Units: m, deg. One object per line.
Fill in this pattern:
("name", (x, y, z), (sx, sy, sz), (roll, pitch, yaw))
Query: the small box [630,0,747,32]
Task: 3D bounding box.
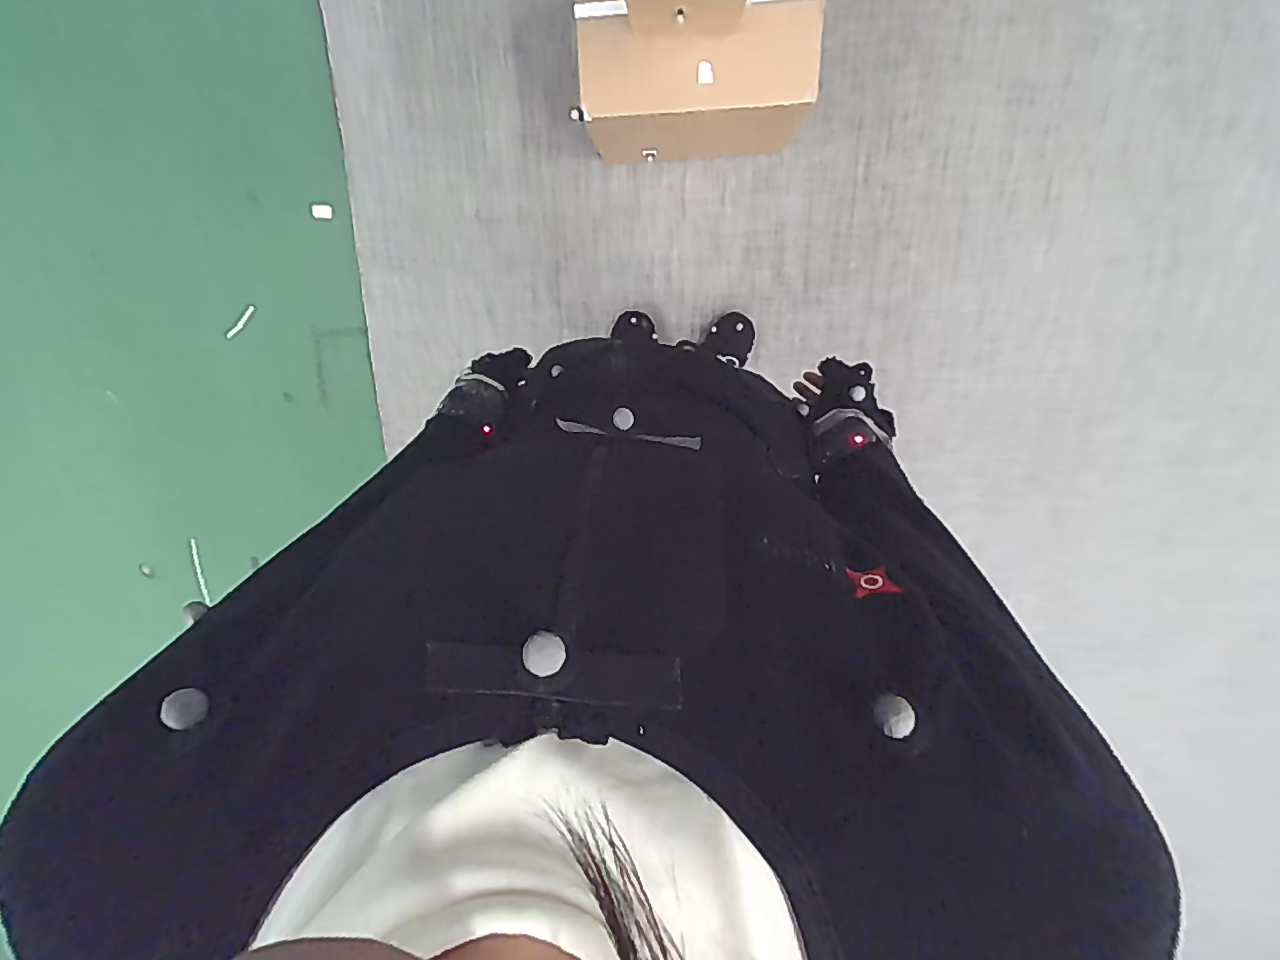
("small box", (0.074, -0.782, 0.786), (0.179, 0.176, 0.168), (0, 114, 5))
